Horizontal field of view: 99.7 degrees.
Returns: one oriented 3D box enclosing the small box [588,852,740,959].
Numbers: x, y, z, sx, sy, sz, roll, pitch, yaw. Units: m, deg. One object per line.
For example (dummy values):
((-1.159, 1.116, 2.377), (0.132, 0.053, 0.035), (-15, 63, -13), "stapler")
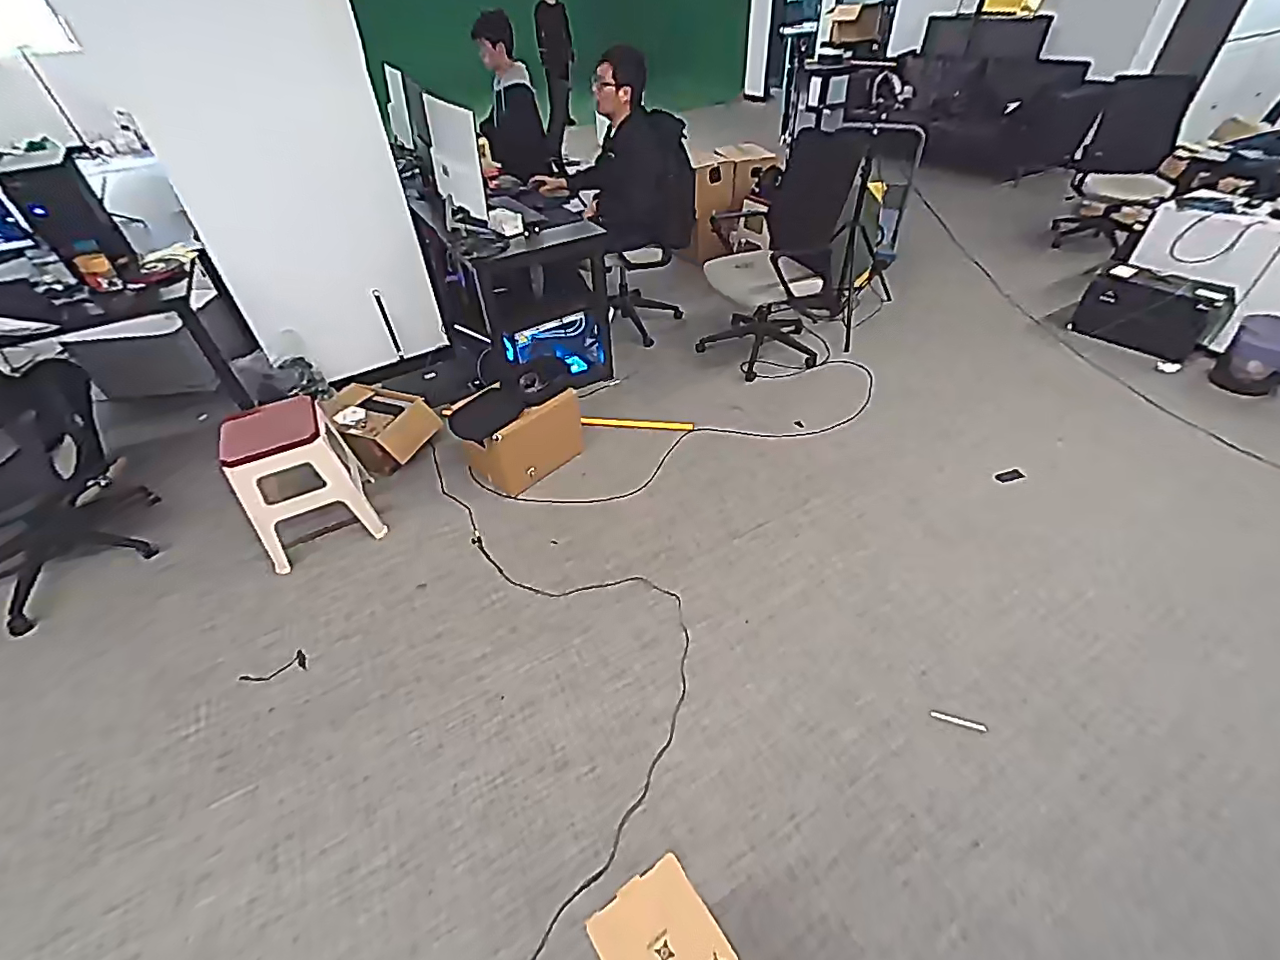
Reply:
((0.036, 0.735, 0.838), (0.168, 0.176, 0.179), (-26, 48, -23), "small box")
